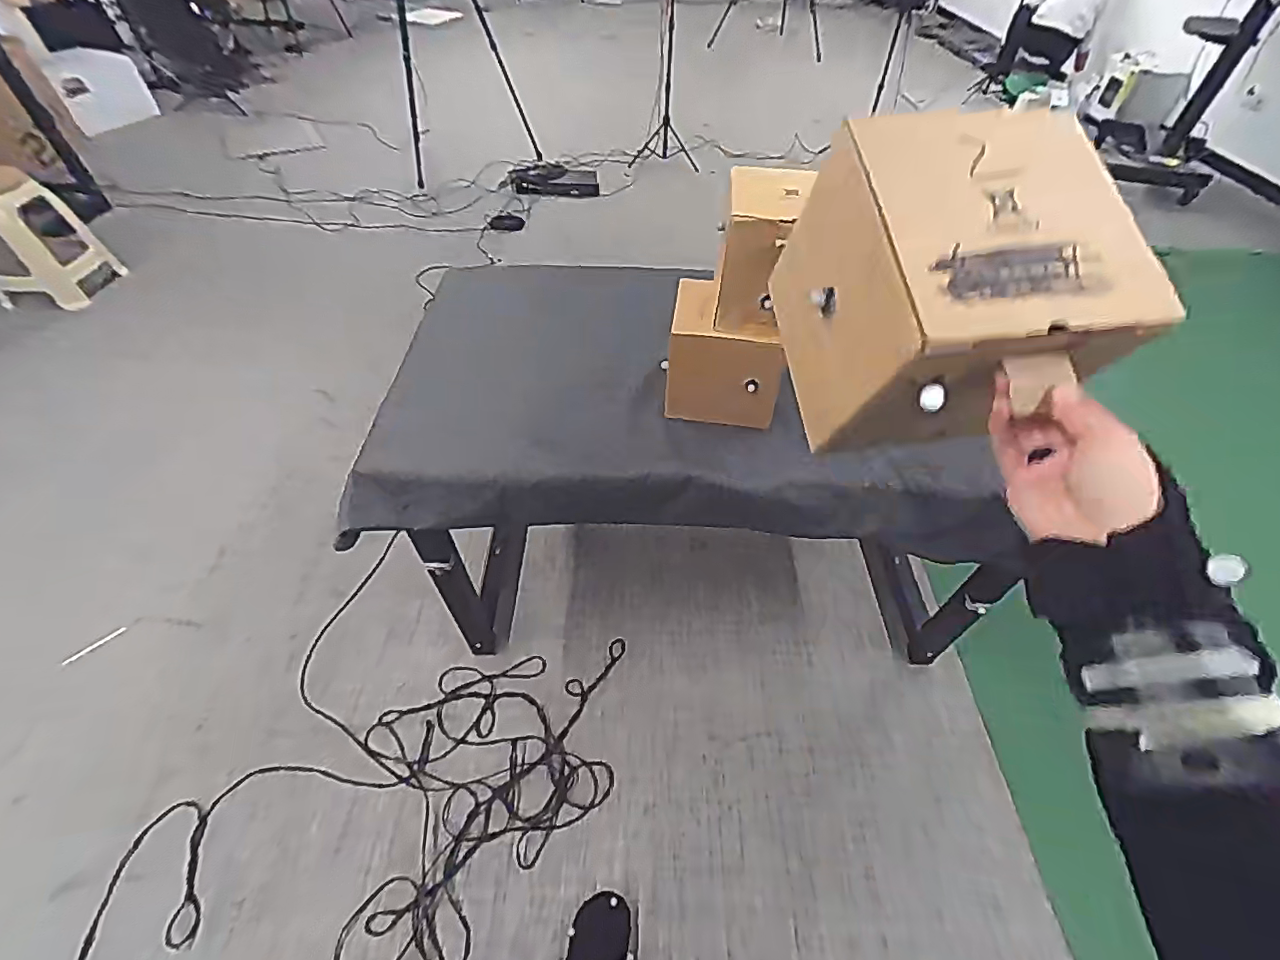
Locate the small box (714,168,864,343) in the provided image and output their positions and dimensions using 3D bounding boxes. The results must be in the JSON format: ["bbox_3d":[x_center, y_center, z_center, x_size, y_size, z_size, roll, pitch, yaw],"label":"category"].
[{"bbox_3d":[0.200,-0.323,0.780,0.168,0.176,0.179,6,49,3],"label":"small box"}]

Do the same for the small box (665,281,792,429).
[{"bbox_3d":[0.139,-0.201,0.887,0.179,0.176,0.168,6,48,4],"label":"small box"}]
